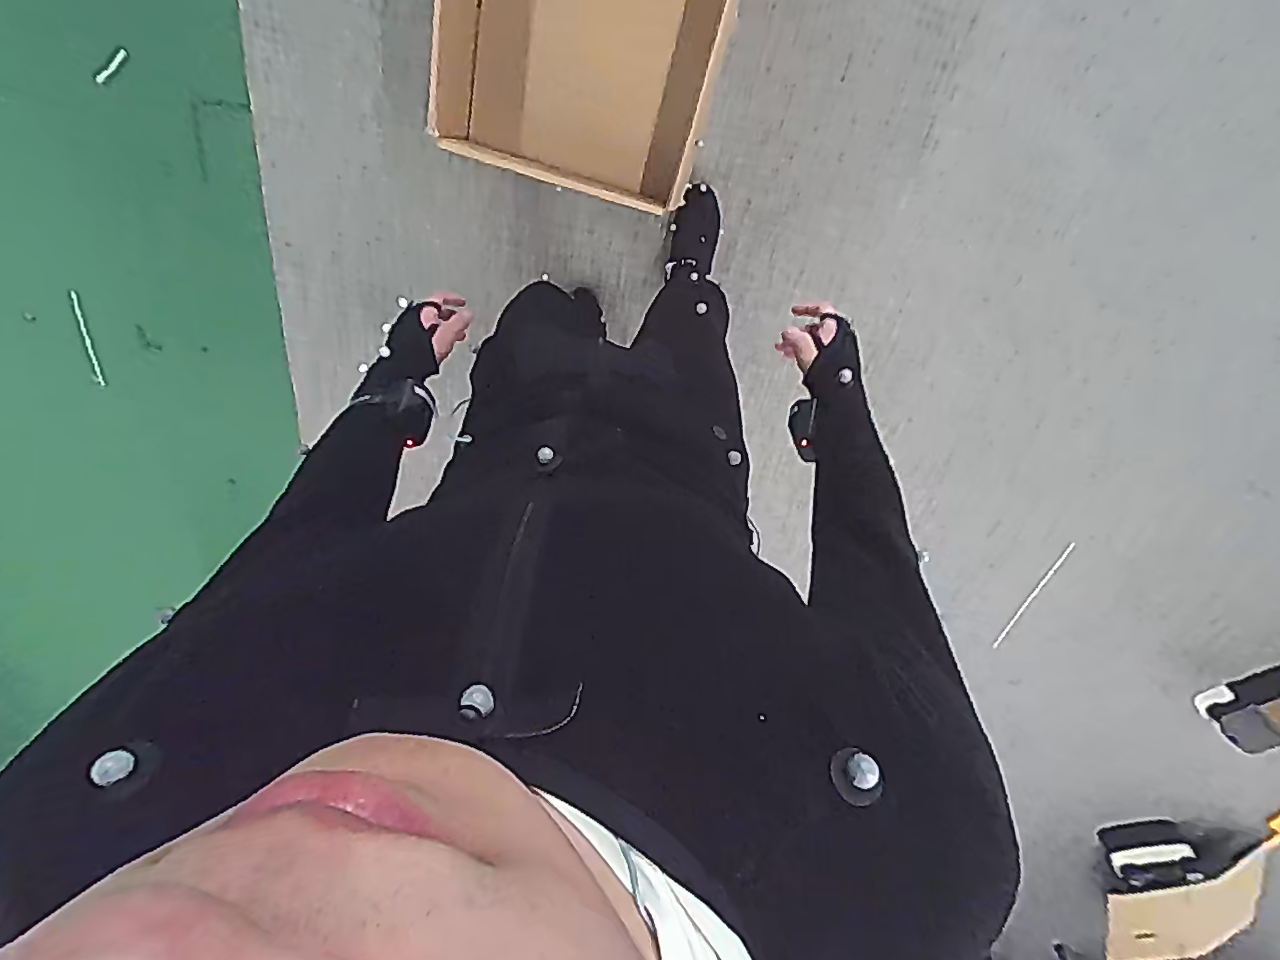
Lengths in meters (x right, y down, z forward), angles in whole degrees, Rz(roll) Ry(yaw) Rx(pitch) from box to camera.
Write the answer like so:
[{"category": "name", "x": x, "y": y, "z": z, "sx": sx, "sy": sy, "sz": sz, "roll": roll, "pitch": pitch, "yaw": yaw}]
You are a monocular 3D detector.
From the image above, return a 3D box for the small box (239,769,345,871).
[{"category": "small box", "x": -0.935, "y": 0.916, "z": 1.467, "sx": 0.179, "sy": 0.176, "sz": 0.168, "roll": 16, "pitch": 123, "yaw": -3}]
